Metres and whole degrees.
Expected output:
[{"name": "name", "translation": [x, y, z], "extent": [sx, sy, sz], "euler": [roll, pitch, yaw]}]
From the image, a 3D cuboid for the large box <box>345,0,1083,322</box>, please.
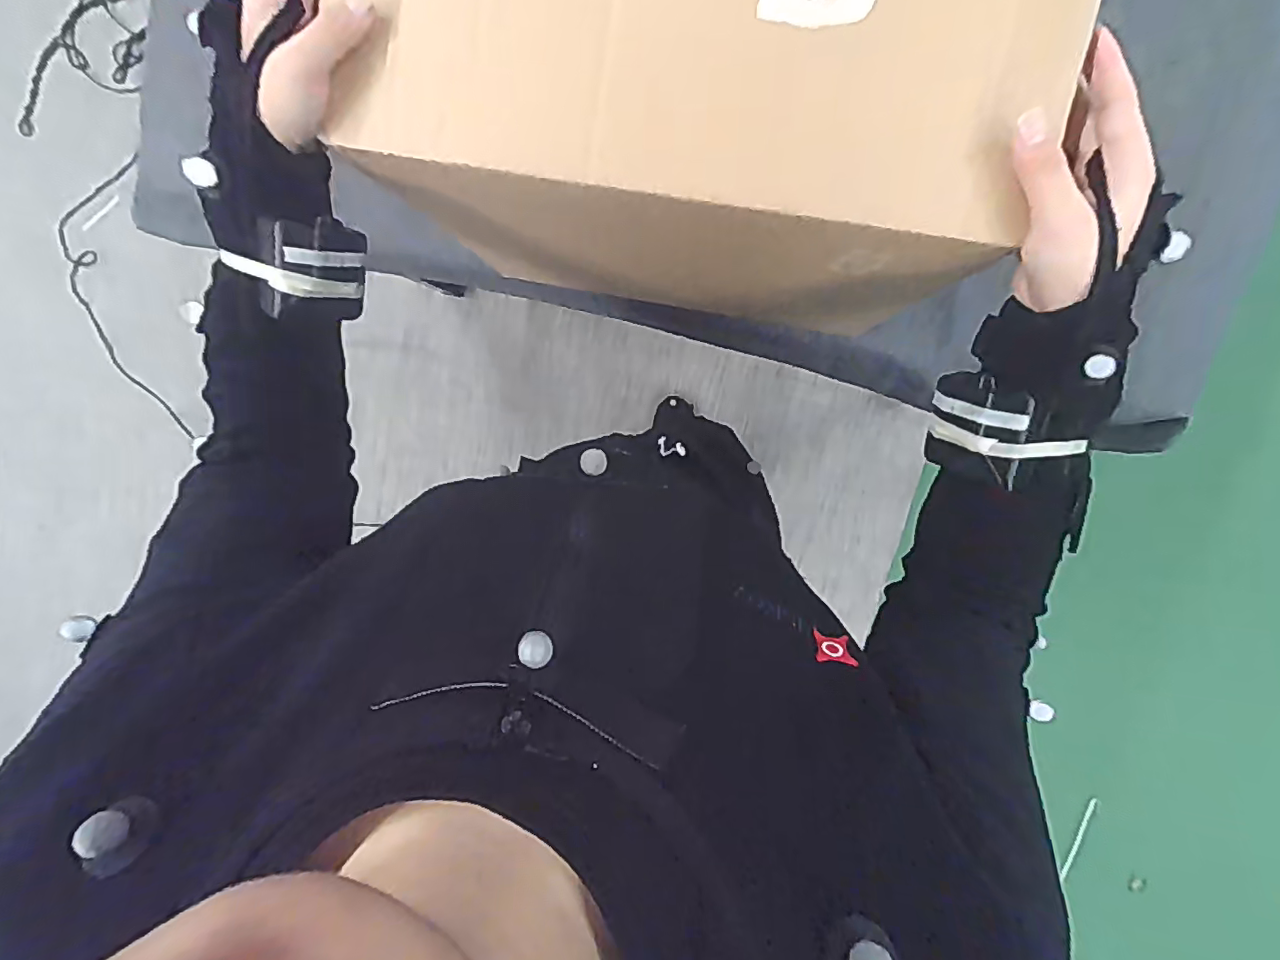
[{"name": "large box", "translation": [0.053, -0.335, 0.437], "extent": [0.408, 0.320, 0.320], "euler": [10, 98, 3]}]
